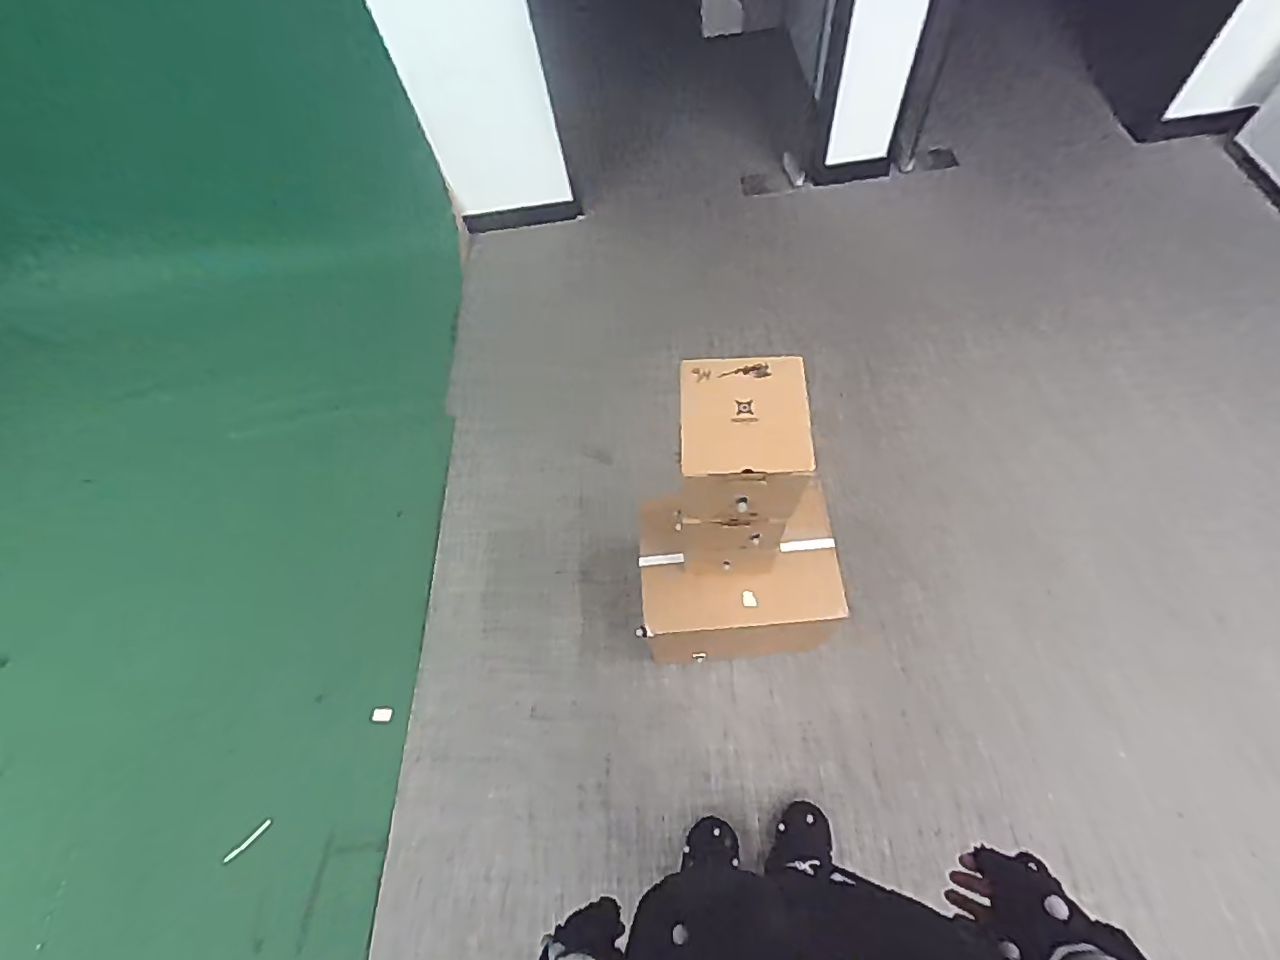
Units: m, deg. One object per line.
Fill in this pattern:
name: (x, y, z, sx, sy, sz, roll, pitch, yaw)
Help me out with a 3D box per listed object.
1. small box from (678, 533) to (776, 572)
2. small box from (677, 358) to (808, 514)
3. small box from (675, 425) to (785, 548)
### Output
small box: (0.168, 0.081, 1.073, 0.179, 0.176, 0.168, 1, 66, 7)
small box: (0.139, -0.054, 0.782, 0.168, 0.176, 0.179, -1, 68, 5)
small box: (0.147, 0.015, 0.930, 0.168, 0.176, 0.179, -3, 65, 4)
